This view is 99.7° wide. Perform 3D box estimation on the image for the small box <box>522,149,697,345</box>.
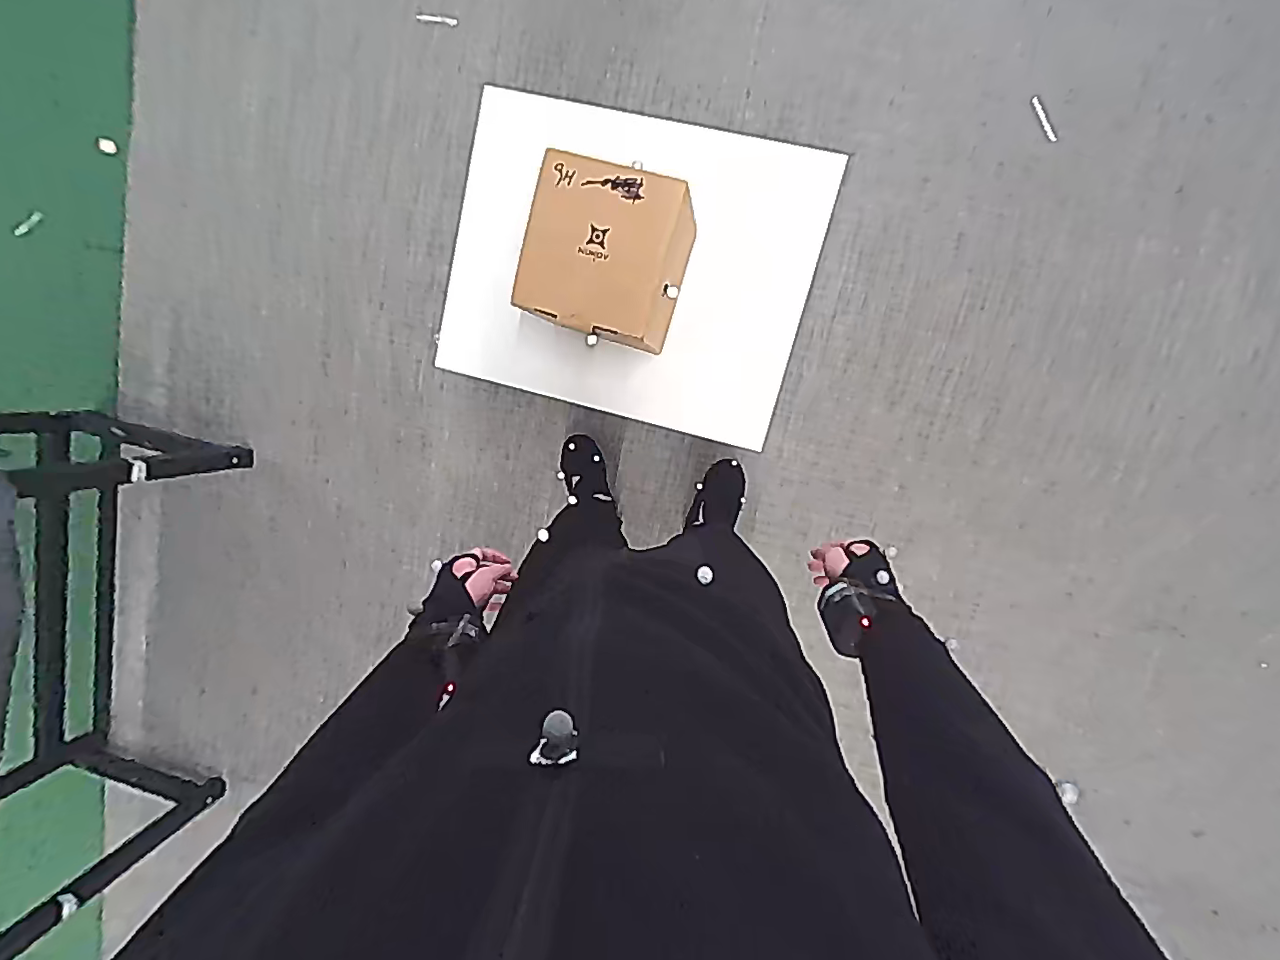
[{"bbox_3d":[-0.028,-0.281,0.692,0.168,0.176,0.179,16,99,7],"label":"small box"}]
